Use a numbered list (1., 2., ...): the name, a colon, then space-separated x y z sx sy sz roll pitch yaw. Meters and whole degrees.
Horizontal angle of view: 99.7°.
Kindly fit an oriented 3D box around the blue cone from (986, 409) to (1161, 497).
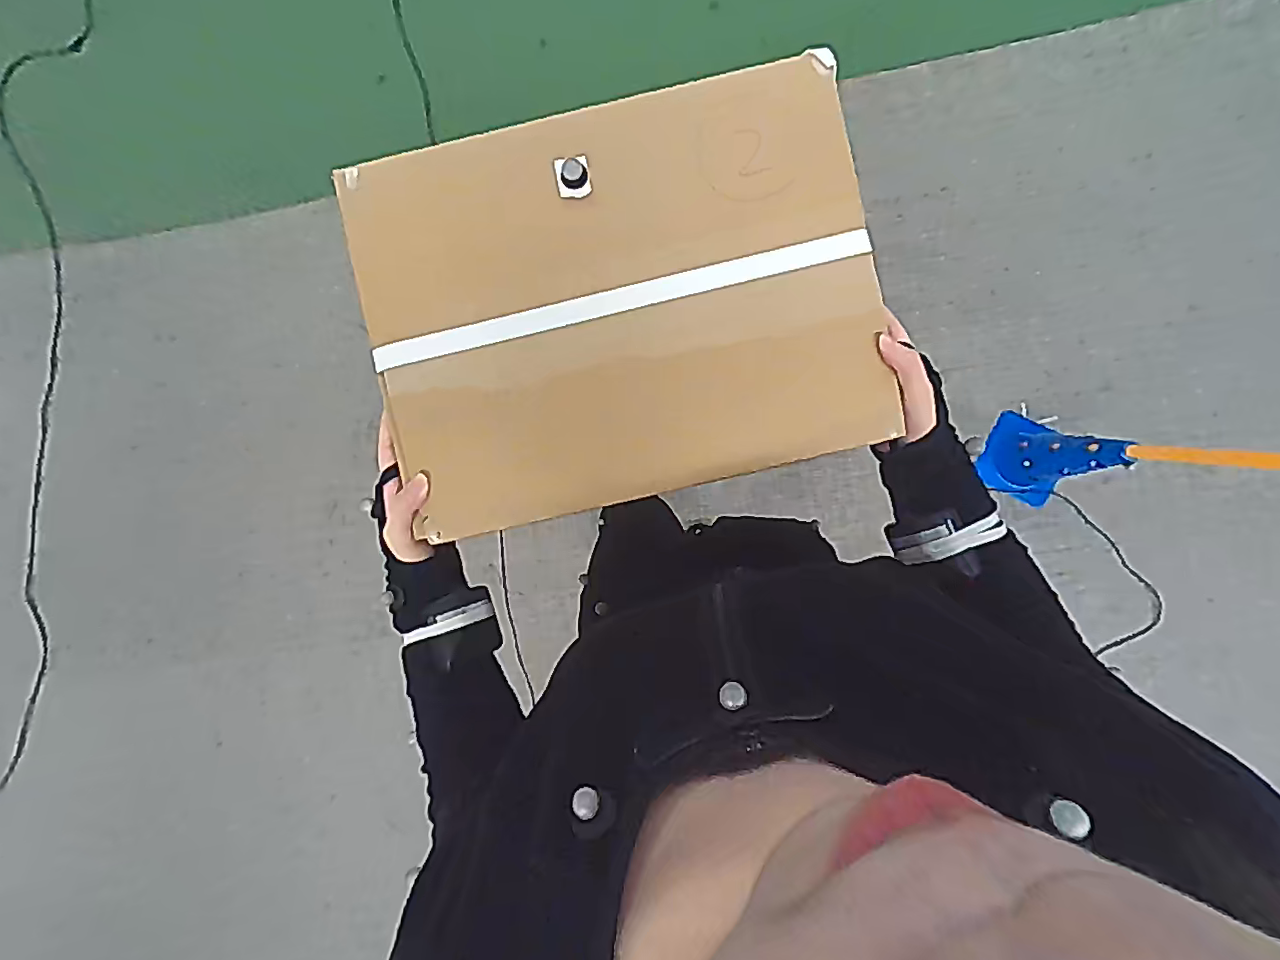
1. blue cone: 0.980 -0.074 1.214 0.192 0.380 0.193 24 91 5
